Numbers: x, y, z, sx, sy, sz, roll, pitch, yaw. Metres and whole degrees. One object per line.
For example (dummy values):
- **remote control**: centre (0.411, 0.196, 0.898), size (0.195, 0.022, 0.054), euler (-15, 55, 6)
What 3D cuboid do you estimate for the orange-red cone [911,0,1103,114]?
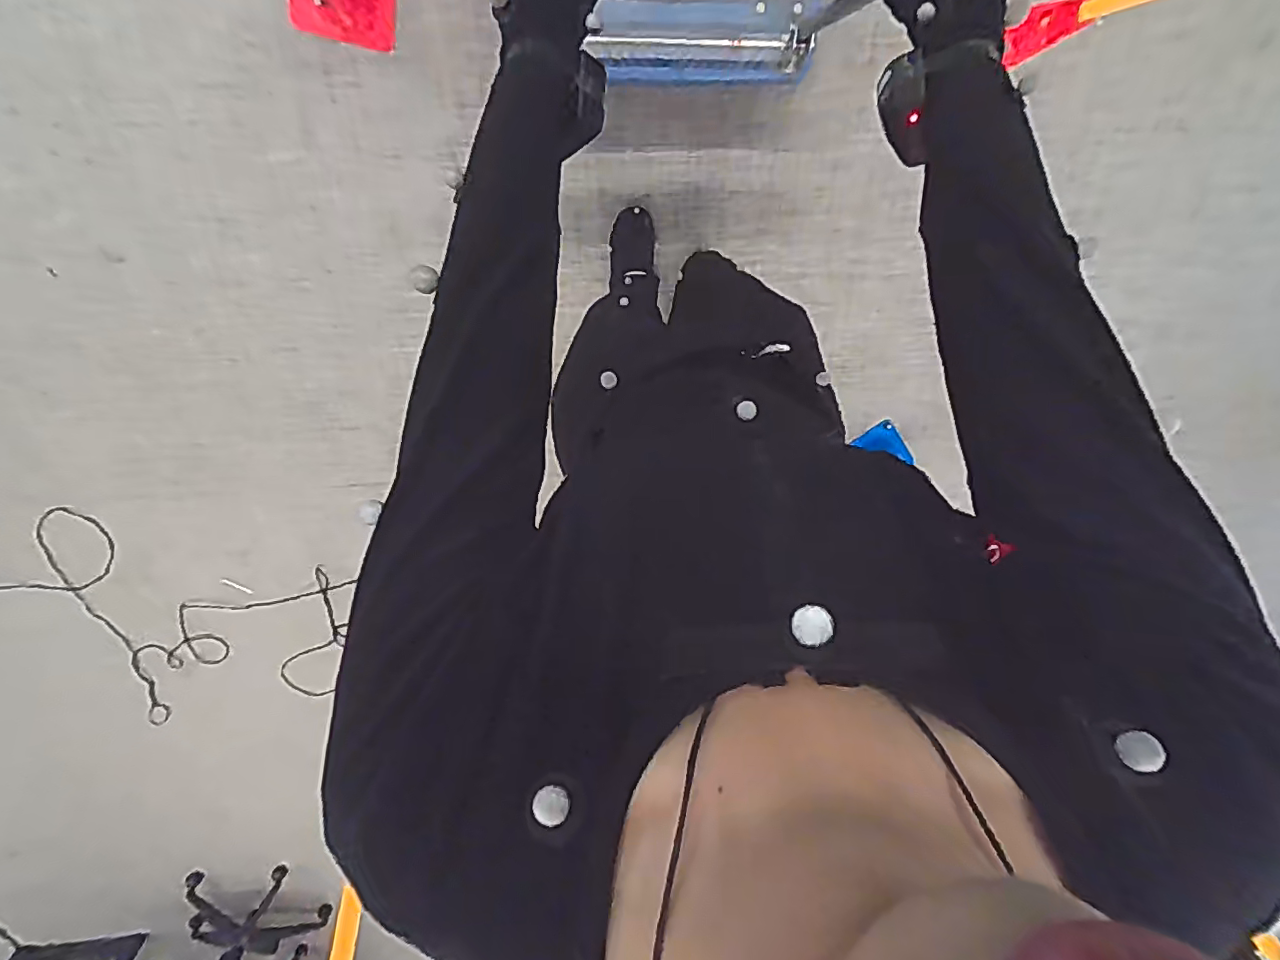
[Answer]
- **orange-red cone**: centre (0.713, -0.838, 1.016), size (0.198, 0.360, 0.199), euler (7, 118, -7)
